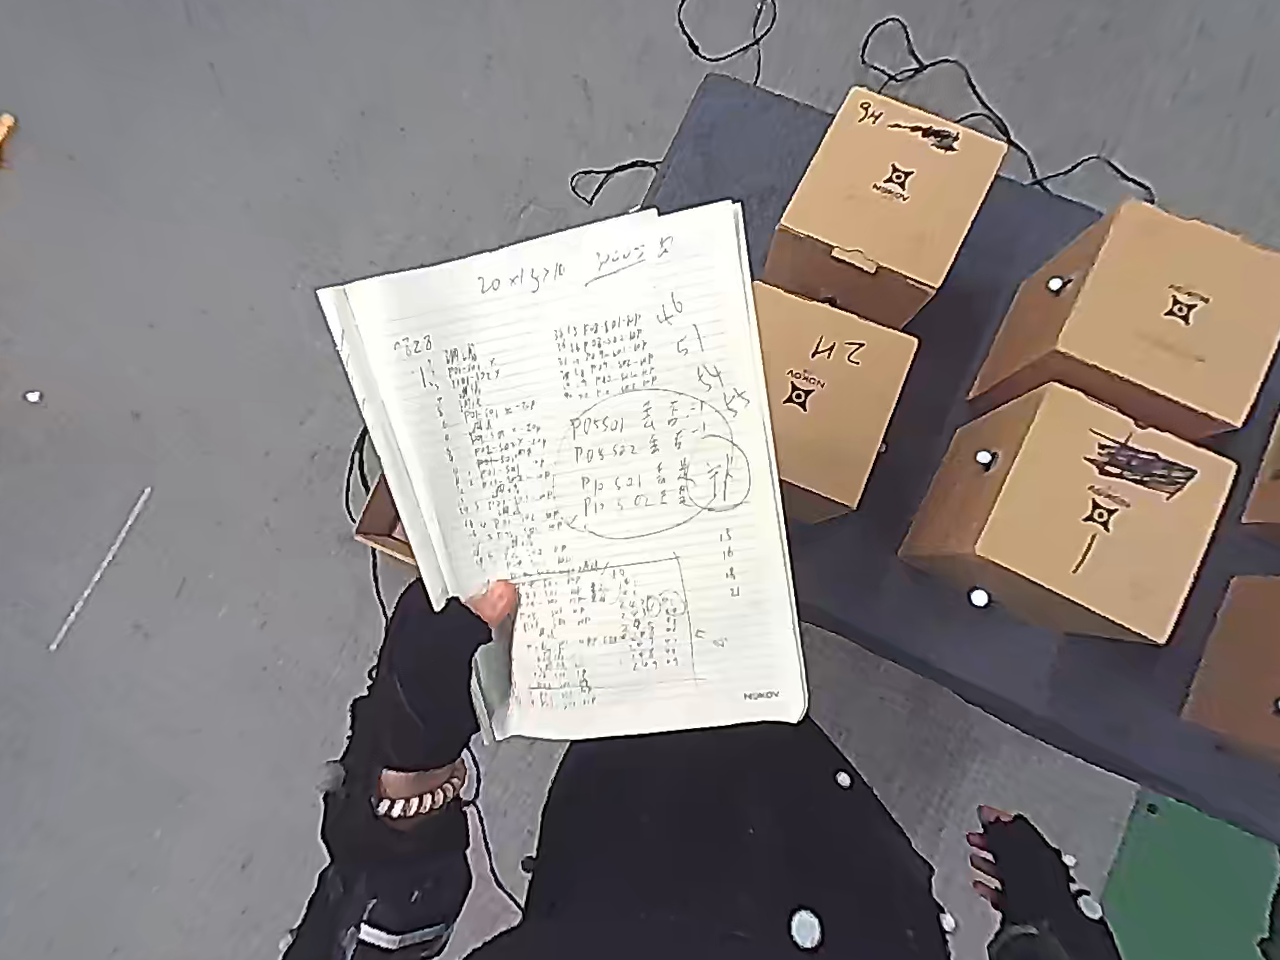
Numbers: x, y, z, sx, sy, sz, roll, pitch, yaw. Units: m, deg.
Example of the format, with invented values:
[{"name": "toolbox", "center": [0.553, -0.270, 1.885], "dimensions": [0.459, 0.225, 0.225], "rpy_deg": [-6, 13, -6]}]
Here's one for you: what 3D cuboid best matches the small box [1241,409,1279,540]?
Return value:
[{"name": "small box", "center": [0.777, 0.002, 0.525], "dimensions": [0.179, 0.176, 0.168], "rpy_deg": [26, 83, 9]}]
